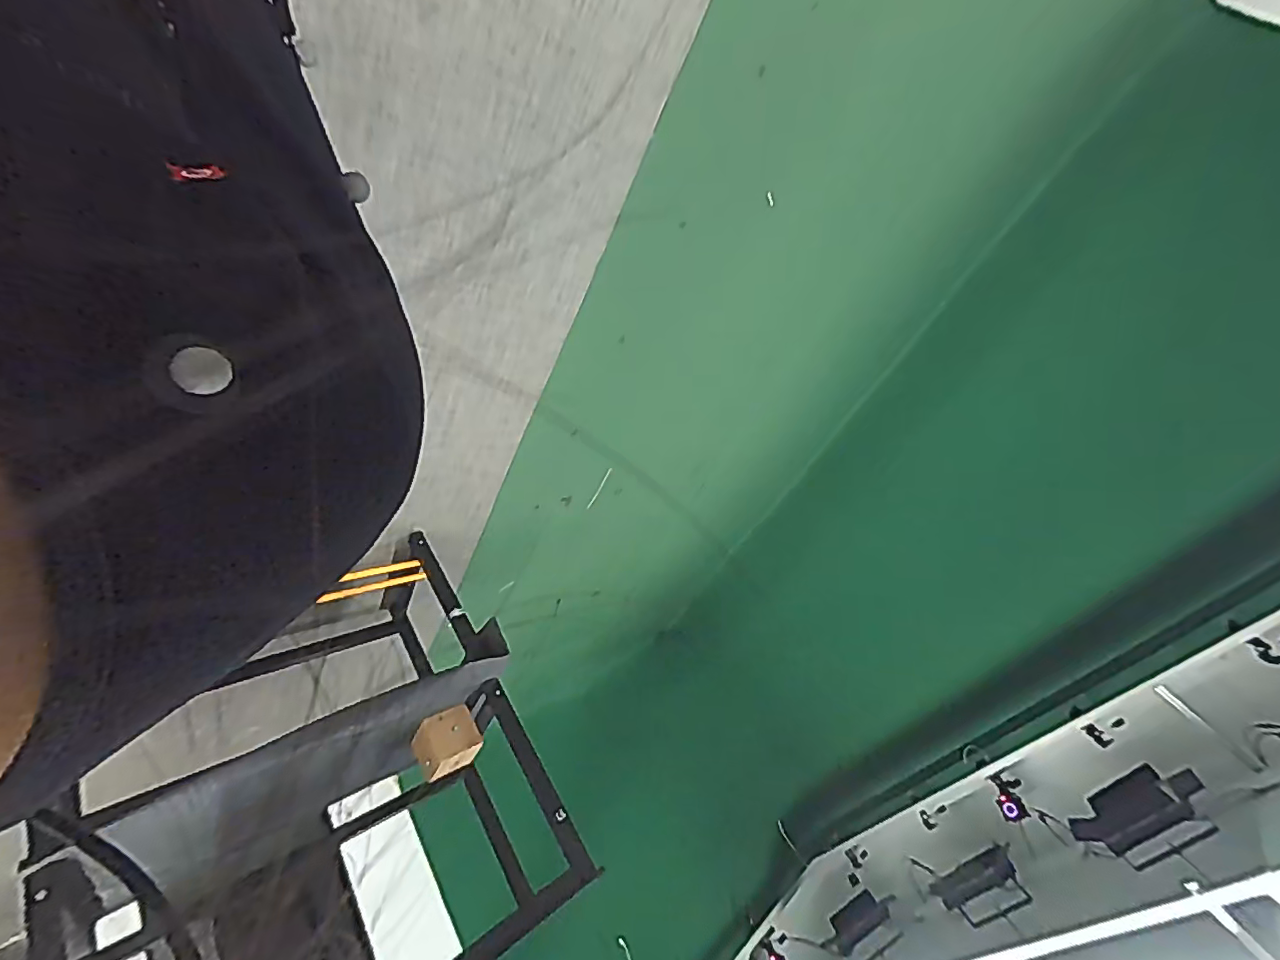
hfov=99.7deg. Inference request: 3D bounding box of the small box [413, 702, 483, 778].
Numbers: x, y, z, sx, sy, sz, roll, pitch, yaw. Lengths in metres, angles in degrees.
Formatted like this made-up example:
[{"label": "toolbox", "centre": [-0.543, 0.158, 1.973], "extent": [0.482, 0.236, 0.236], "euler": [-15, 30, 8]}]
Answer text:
[{"label": "small box", "centre": [-0.710, 0.945, 1.985], "extent": [0.168, 0.176, 0.179], "euler": [-6, 140, -46]}]
